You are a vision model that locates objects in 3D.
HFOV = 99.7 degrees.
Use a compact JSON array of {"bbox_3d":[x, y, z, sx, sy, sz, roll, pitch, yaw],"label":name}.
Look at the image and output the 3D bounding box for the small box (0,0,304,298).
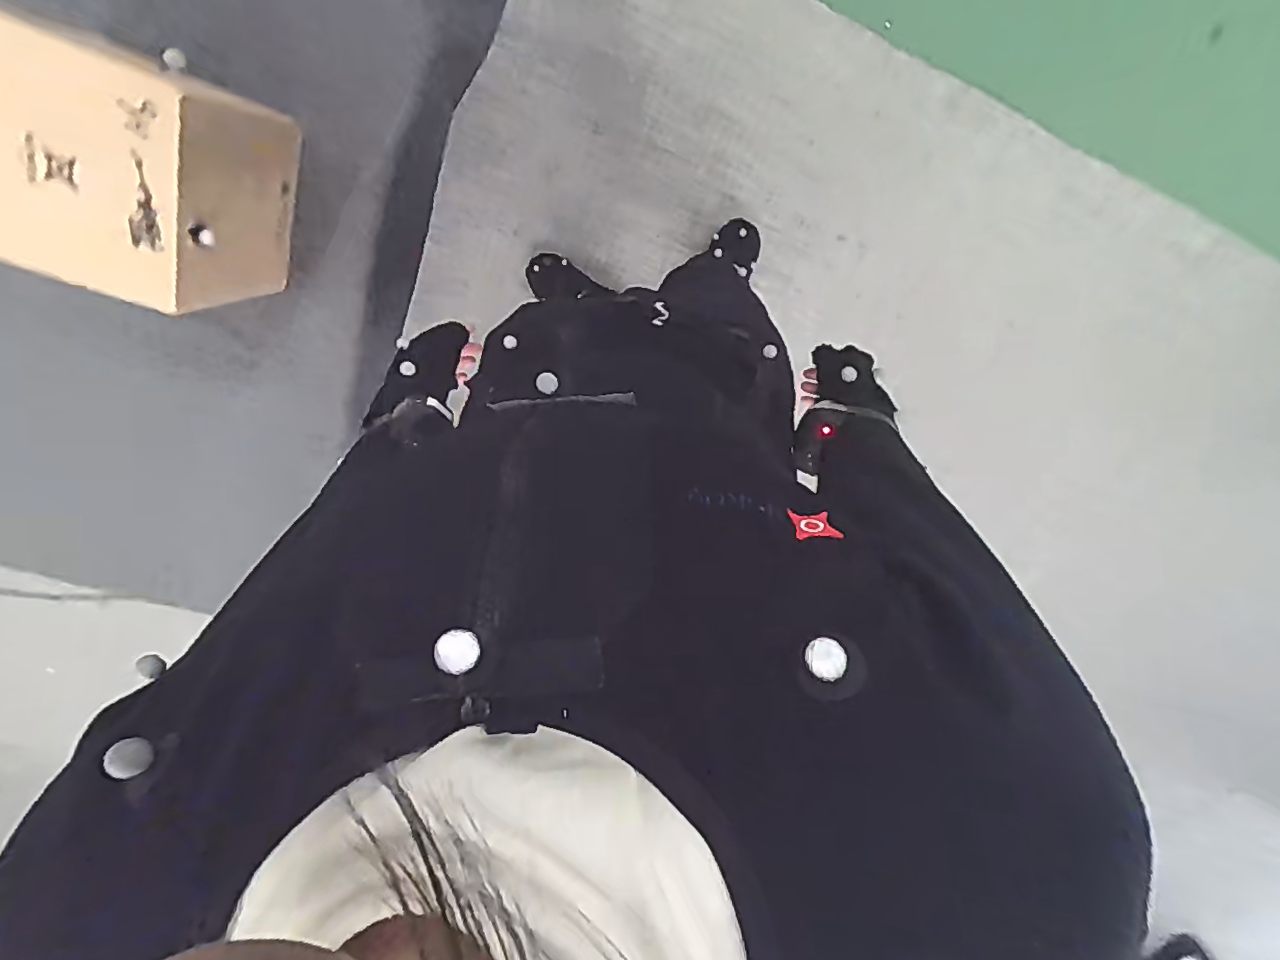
[{"bbox_3d":[-0.431,-0.275,0.465,0.179,0.176,0.168,18,115,-10],"label":"small box"}]
